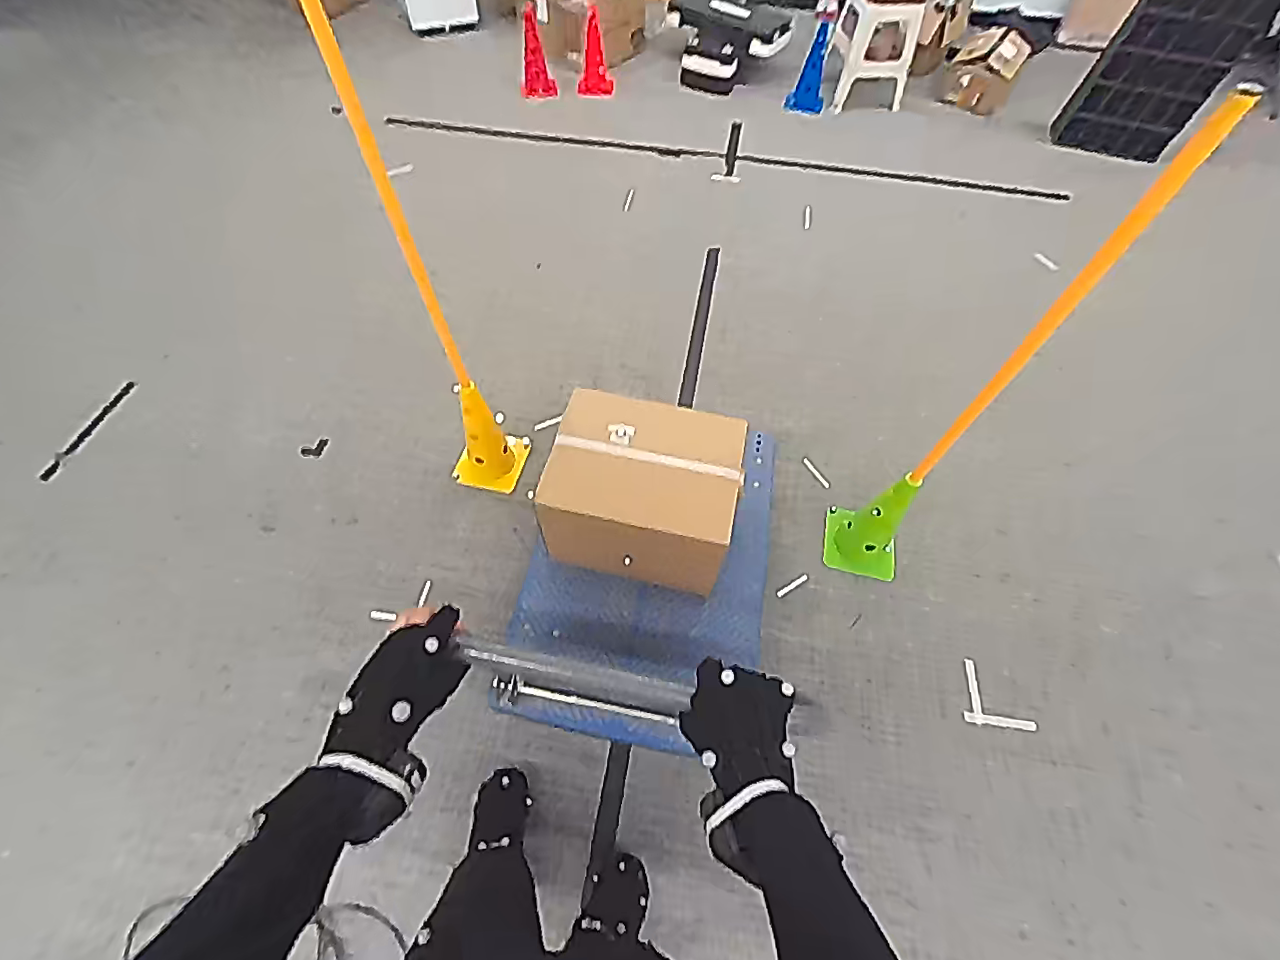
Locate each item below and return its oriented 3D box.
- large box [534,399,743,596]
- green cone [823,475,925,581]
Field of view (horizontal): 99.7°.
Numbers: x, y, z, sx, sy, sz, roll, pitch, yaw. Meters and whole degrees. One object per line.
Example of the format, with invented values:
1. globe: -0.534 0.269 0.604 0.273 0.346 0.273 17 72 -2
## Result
1. large box: 0.009 0.050 1.287 0.408 0.320 0.320 12 59 6
2. green cone: 0.648 0.100 1.441 0.202 0.368 0.200 14 59 5
